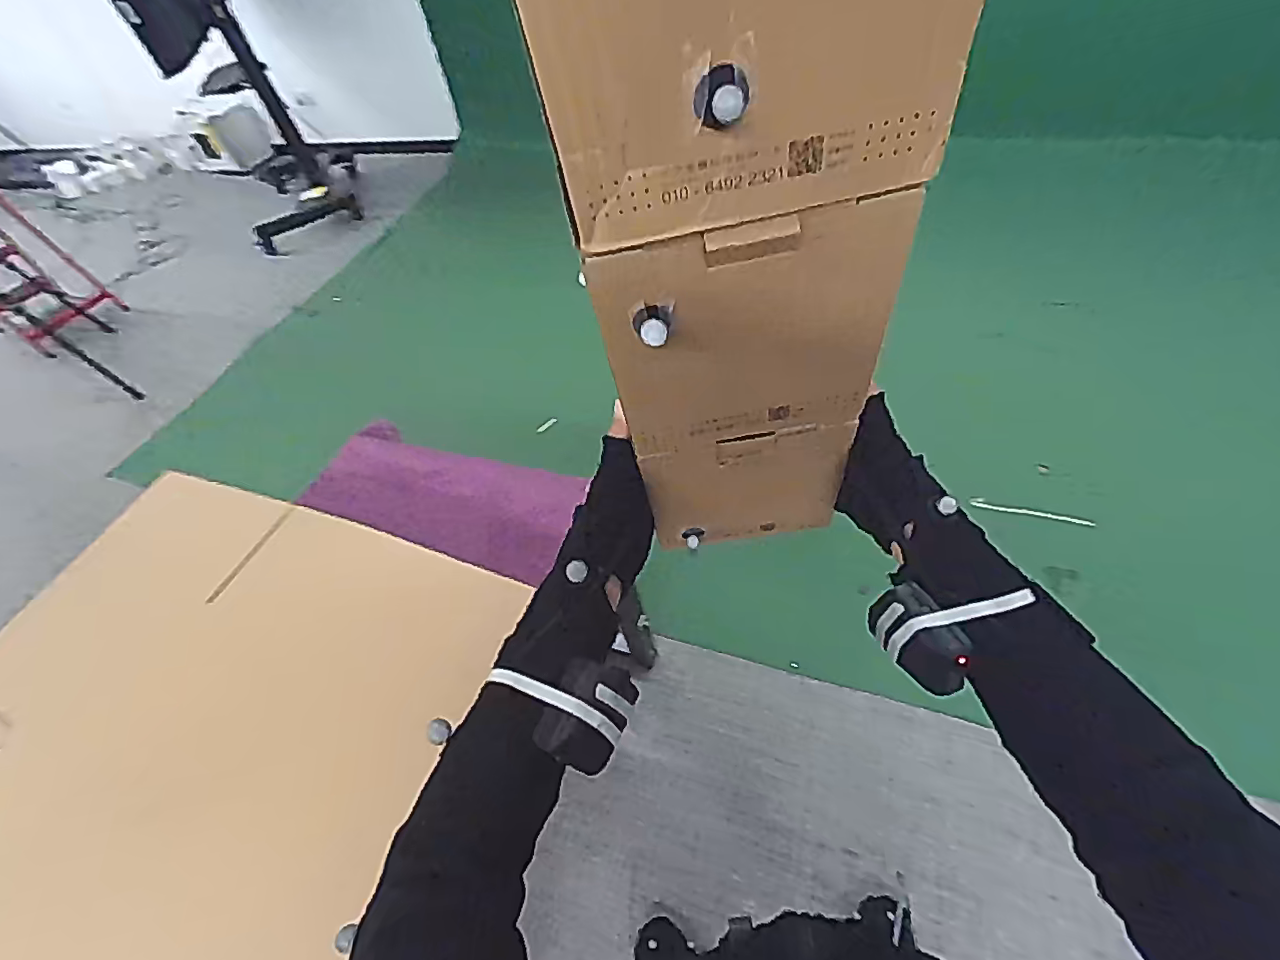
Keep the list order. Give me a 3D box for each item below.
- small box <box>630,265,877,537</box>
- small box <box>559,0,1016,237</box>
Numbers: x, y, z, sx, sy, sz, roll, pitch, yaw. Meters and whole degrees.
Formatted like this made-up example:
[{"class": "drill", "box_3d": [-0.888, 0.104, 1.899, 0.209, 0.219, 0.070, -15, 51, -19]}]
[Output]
[{"class": "small box", "box_3d": [0.094, -0.059, 0.501, 0.168, 0.176, 0.179, -11, 59, 3]}, {"class": "small box", "box_3d": [0.045, -0.237, 0.230, 0.168, 0.176, 0.179, -11, 57, 3]}]
